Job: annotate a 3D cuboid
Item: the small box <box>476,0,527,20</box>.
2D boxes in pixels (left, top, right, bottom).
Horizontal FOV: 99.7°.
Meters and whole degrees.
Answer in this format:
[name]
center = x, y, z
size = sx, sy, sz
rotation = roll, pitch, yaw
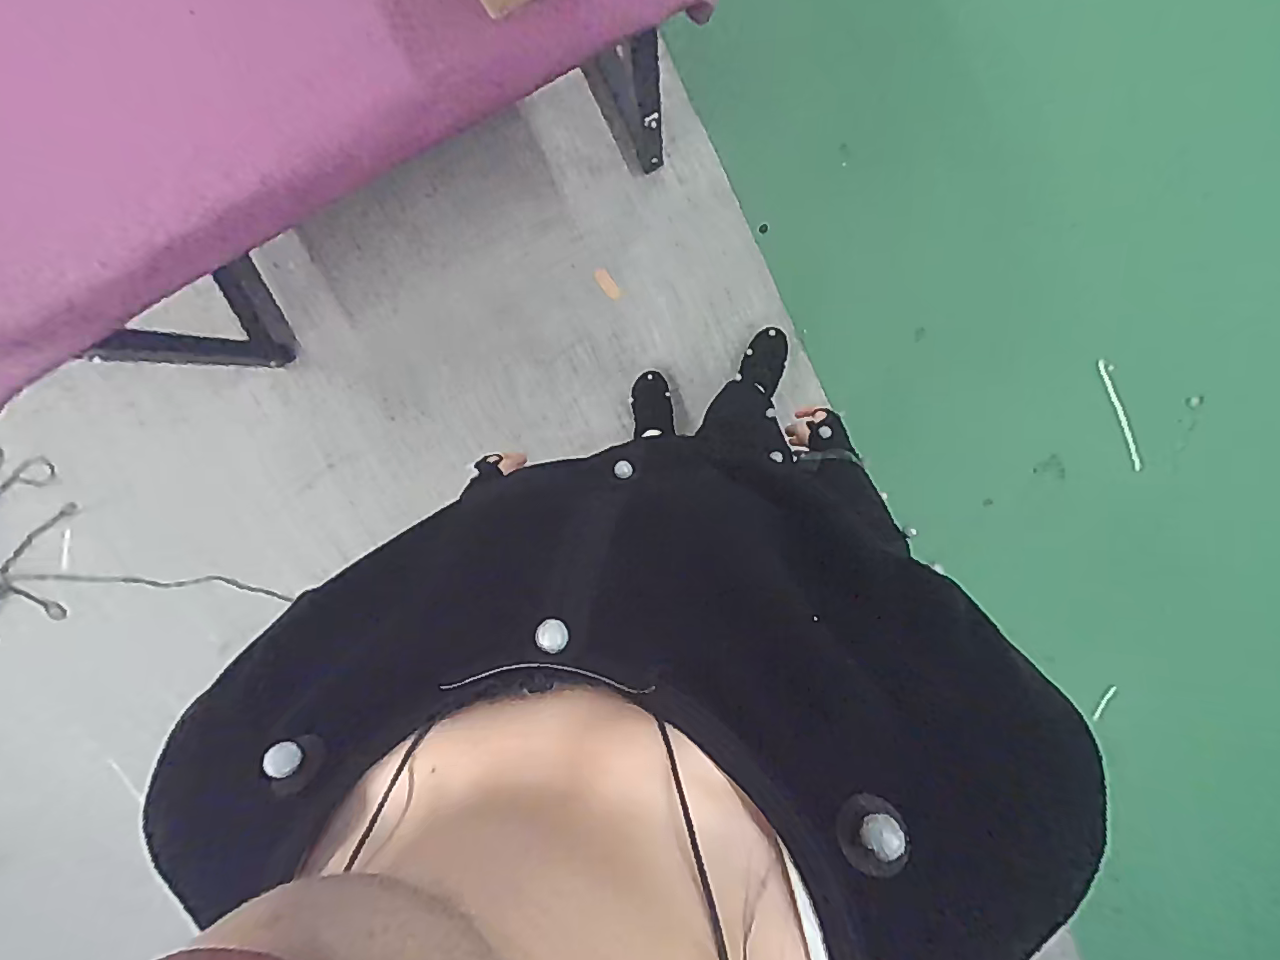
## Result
[small box]
center = -0.154, -0.666, 0.578
size = 0.179, 0.176, 0.168
rotation = -29, 97, 8
